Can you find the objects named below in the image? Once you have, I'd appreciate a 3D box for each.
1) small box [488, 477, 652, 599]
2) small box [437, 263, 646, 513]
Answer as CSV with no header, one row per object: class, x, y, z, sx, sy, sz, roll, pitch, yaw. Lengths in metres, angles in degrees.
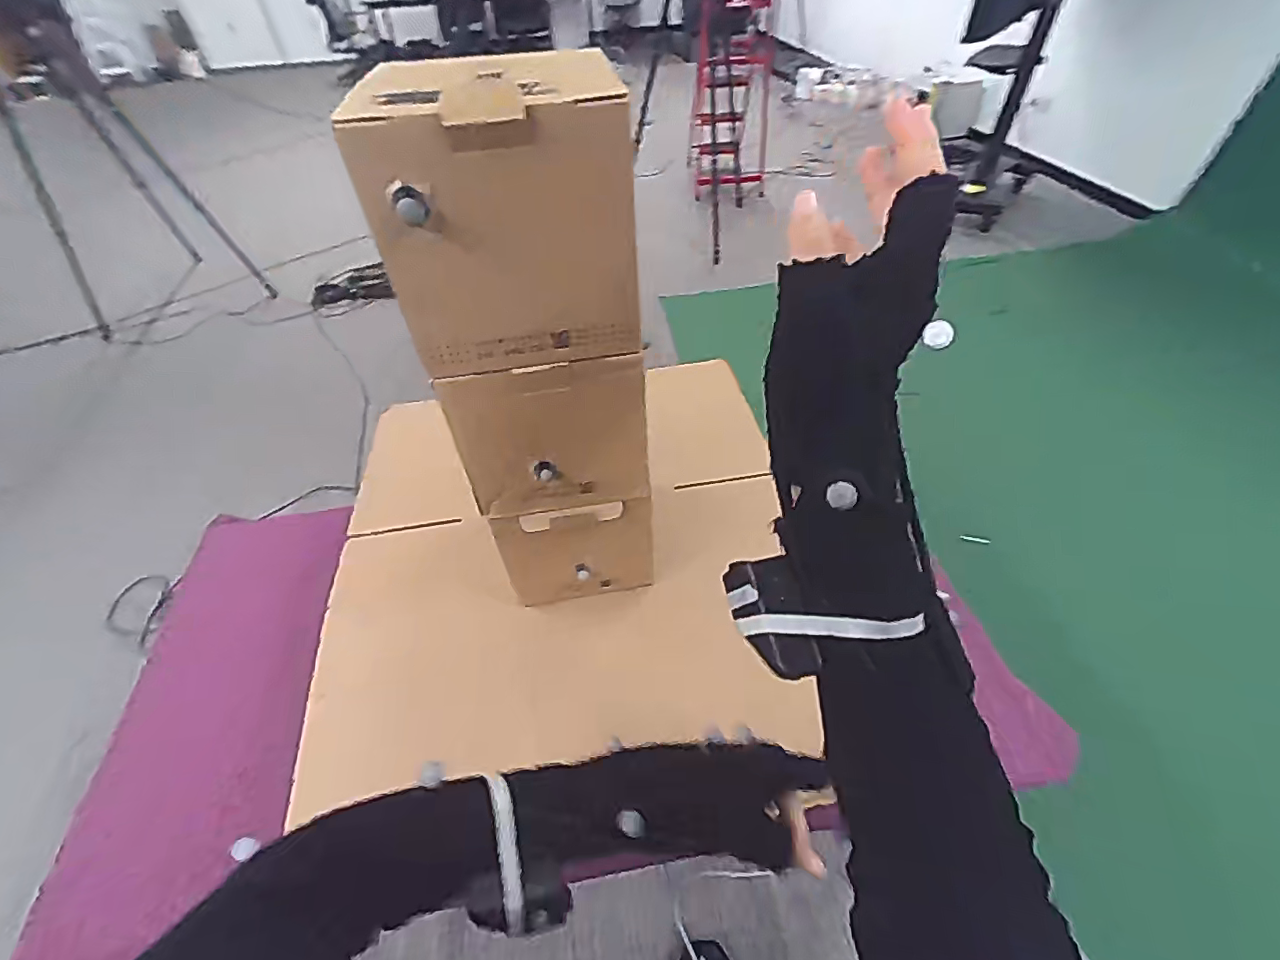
small box,-0.081,0.018,0.658,0.168,0.176,0.179,-9,47,-4
small box,-0.089,-0.093,0.540,0.168,0.176,0.179,-9,47,-5
